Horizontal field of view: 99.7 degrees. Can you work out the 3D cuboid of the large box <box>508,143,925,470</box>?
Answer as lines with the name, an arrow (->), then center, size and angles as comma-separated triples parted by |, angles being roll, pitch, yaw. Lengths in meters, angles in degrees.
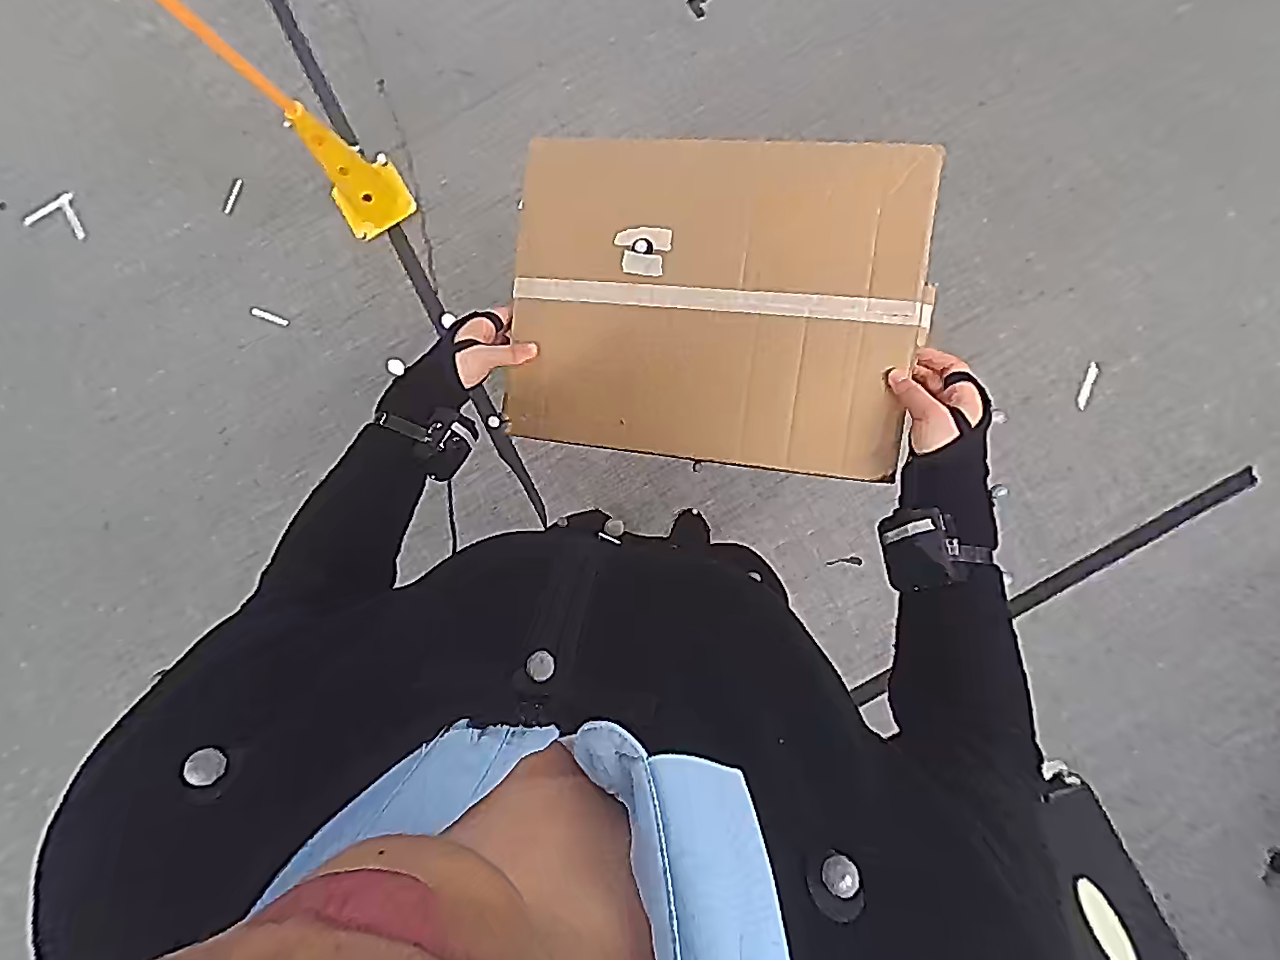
large box -> 0.093, -0.186, 0.694 | 0.408, 0.320, 0.320 | 7, 92, 12
